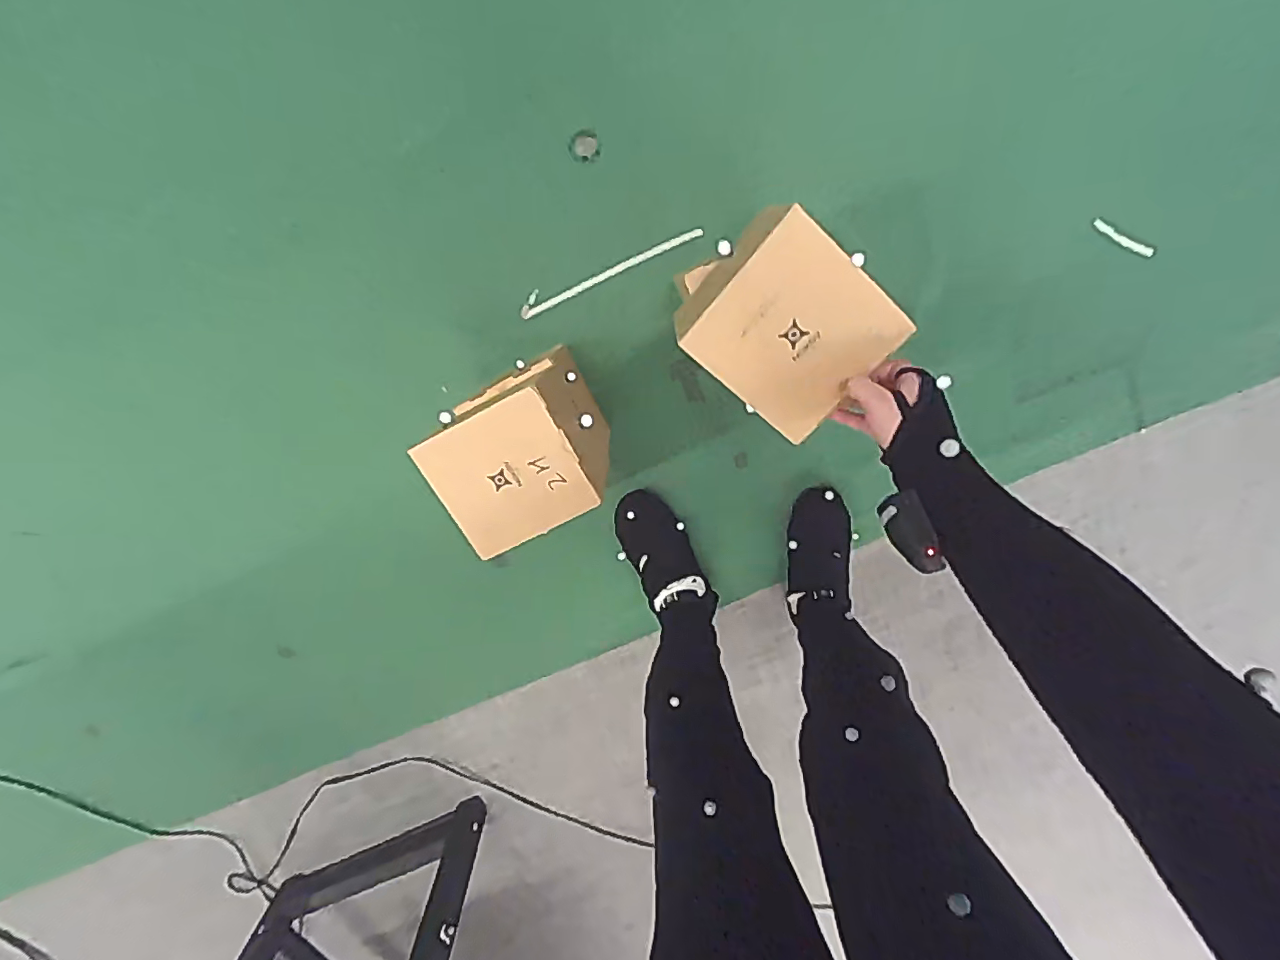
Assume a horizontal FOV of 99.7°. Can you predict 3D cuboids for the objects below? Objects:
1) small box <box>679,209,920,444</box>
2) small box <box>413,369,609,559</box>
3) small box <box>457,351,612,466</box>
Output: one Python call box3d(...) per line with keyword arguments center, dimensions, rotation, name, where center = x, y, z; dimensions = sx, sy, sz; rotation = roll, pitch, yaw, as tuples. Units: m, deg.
box3d(center=(0.161, -0.176, 0.603), dimensions=(0.179, 0.176, 0.168), rotation=(37, 111, -14), name="small box")
box3d(center=(-0.154, -0.029, 0.717), dimensions=(0.179, 0.176, 0.168), rotation=(-26, 108, 9), name="small box")
box3d(center=(-0.155, -0.090, 0.871), dimensions=(0.168, 0.176, 0.179), rotation=(-26, 107, 9), name="small box")
